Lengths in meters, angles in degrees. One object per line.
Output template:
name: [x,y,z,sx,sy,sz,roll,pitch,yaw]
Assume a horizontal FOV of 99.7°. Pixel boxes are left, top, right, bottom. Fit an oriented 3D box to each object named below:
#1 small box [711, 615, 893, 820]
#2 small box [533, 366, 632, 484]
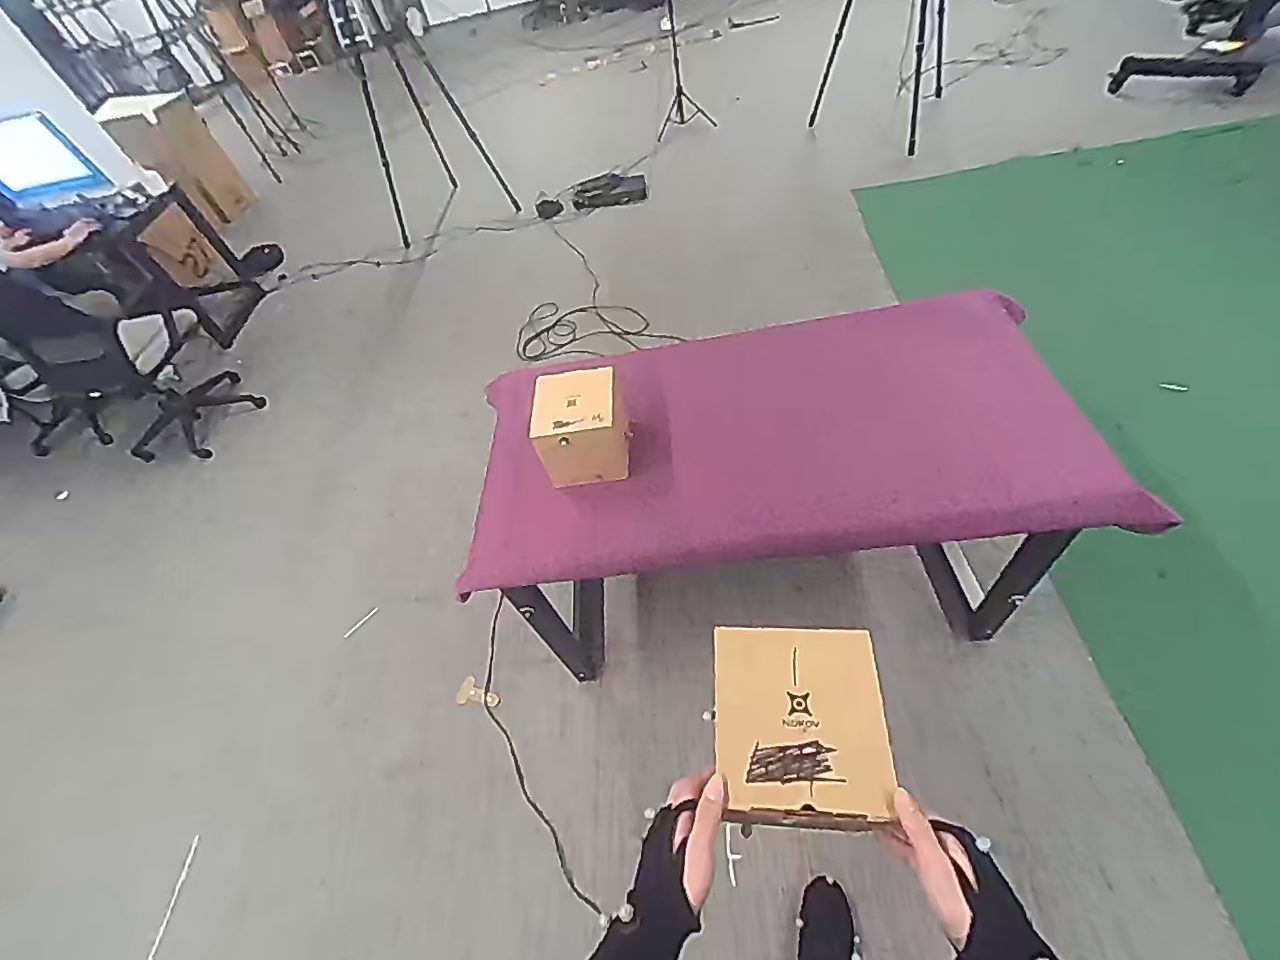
small box: [0.165,0.269,0.606,0.168,0.176,0.179,0,53,8]
small box: [-0.113,-0.114,1.148,0.168,0.176,0.179,-7,51,8]
